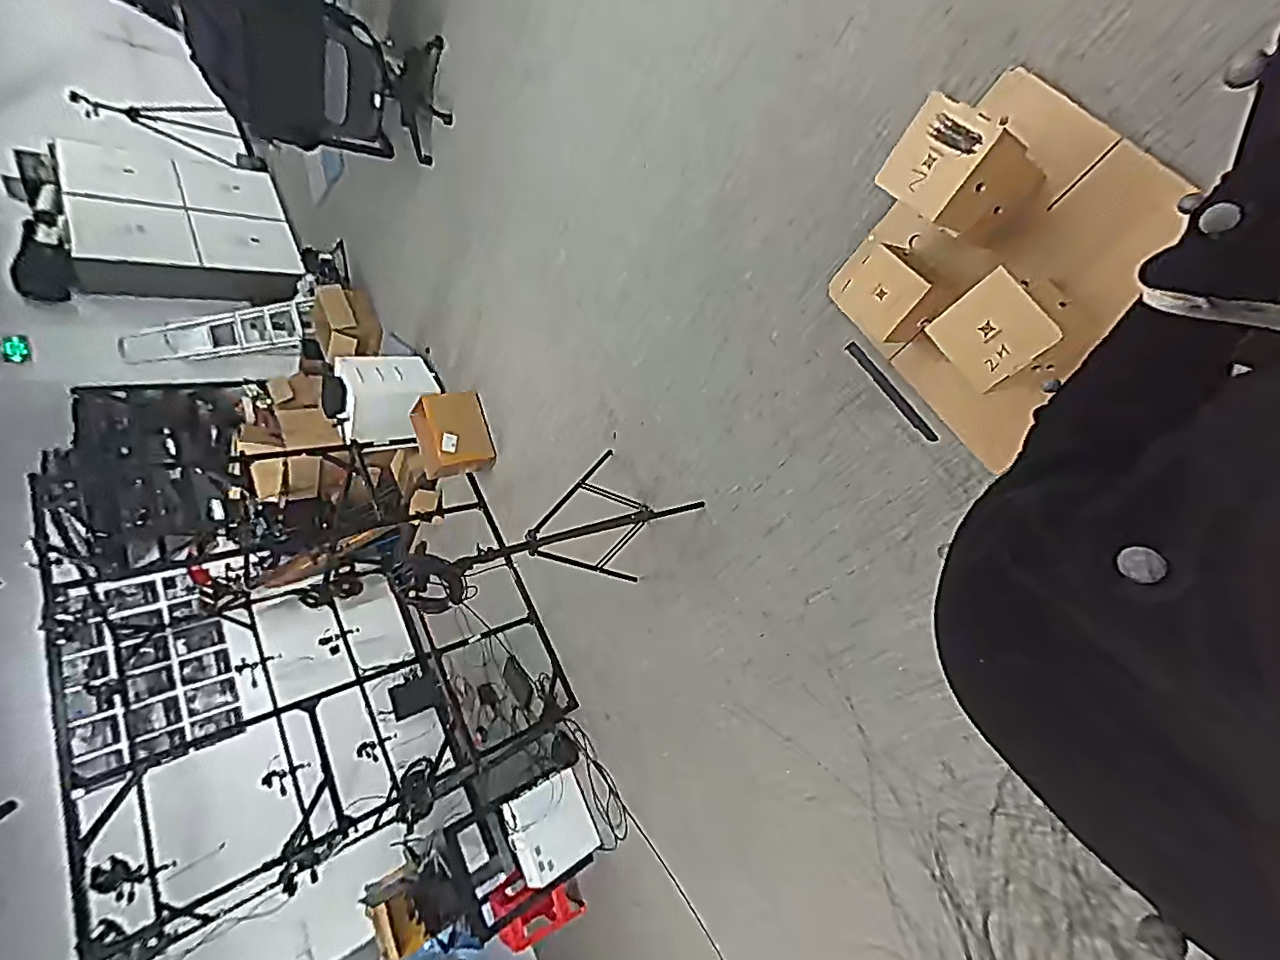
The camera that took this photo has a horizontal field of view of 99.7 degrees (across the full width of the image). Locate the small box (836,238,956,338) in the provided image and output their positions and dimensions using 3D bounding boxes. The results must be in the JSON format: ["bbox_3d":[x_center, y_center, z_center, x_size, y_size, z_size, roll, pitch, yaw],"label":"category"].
[{"bbox_3d":[0.636,-0.470,1.345,0.179,0.176,0.168,55,137,25],"label":"small box"}]

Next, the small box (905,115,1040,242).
[{"bbox_3d":[0.734,-0.652,1.186,0.168,0.176,0.179,56,135,24],"label":"small box"}]

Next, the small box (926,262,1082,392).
[{"bbox_3d":[0.707,-0.292,1.053,0.168,0.176,0.179,-46,66,45],"label":"small box"}]

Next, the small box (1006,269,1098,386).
[{"bbox_3d":[0.829,-0.322,1.160,0.168,0.176,0.179,-47,66,44],"label":"small box"}]
